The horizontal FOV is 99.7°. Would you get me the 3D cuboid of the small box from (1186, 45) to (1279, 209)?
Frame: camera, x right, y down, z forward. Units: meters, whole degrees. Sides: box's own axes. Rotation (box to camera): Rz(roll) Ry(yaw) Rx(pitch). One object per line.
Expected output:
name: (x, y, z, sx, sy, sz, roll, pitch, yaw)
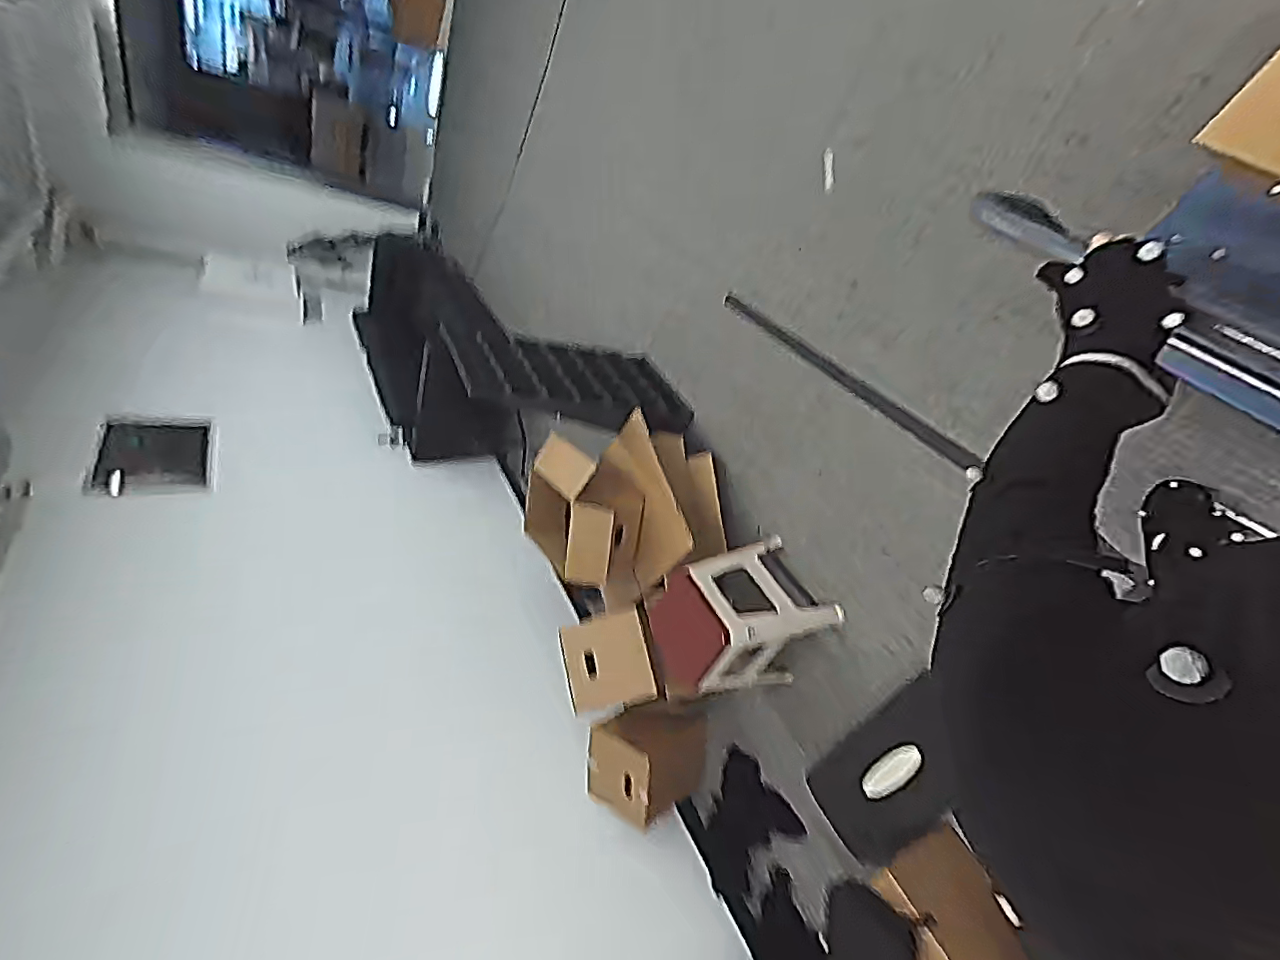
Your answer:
small box: (0.990, -0.523, 0.804, 0.179, 0.176, 0.168, 60, 135, 32)
